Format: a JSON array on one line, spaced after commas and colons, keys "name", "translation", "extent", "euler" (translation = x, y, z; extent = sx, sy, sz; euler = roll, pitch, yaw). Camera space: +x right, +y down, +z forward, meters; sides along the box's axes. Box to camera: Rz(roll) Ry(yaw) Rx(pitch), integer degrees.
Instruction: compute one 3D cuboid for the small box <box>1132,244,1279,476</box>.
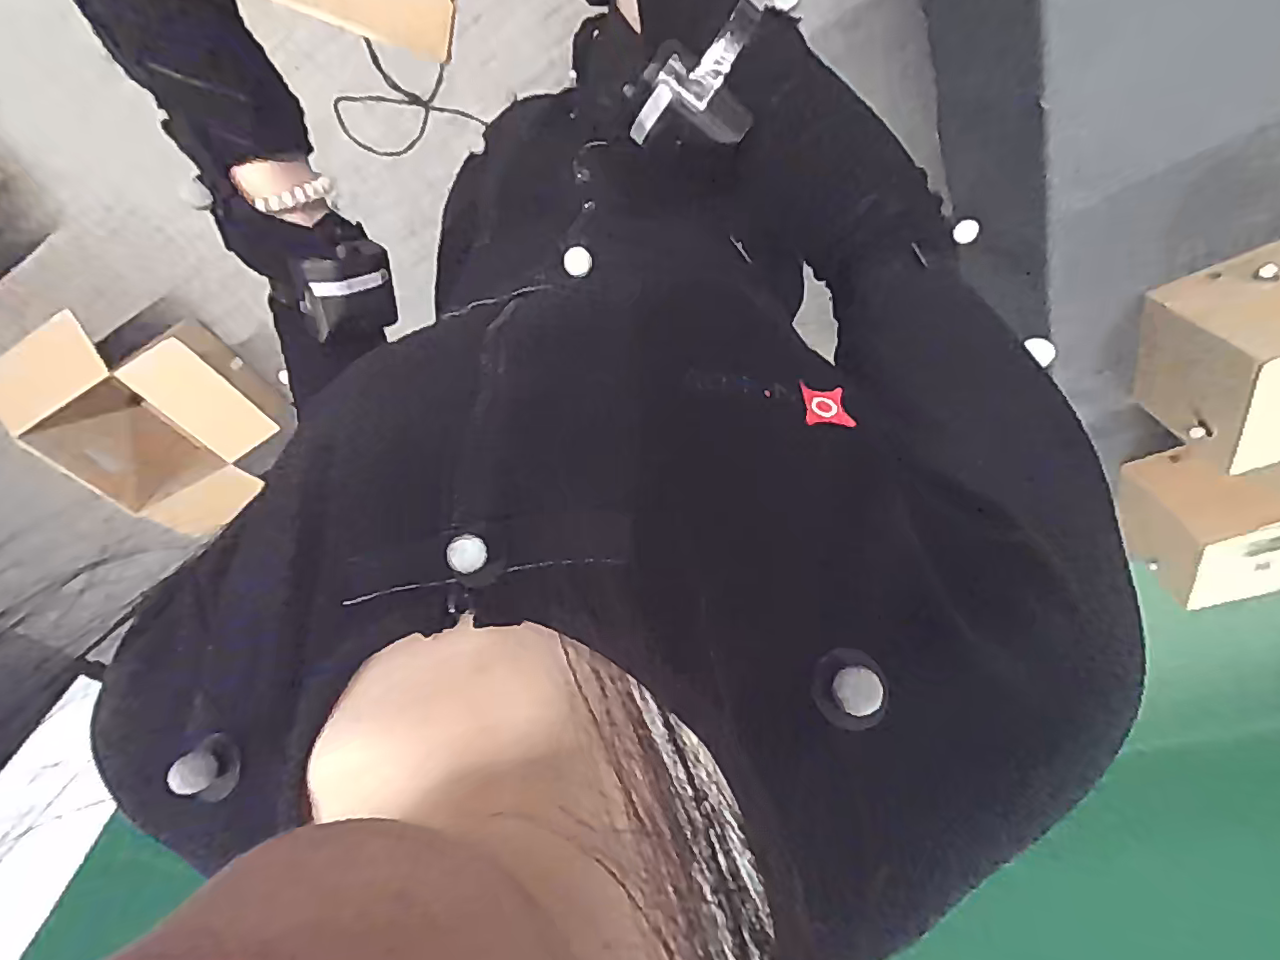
[{"name": "small box", "translation": [0.720, -0.140, 0.624], "extent": [0.168, 0.176, 0.179], "euler": [-21, 128, 17]}]
